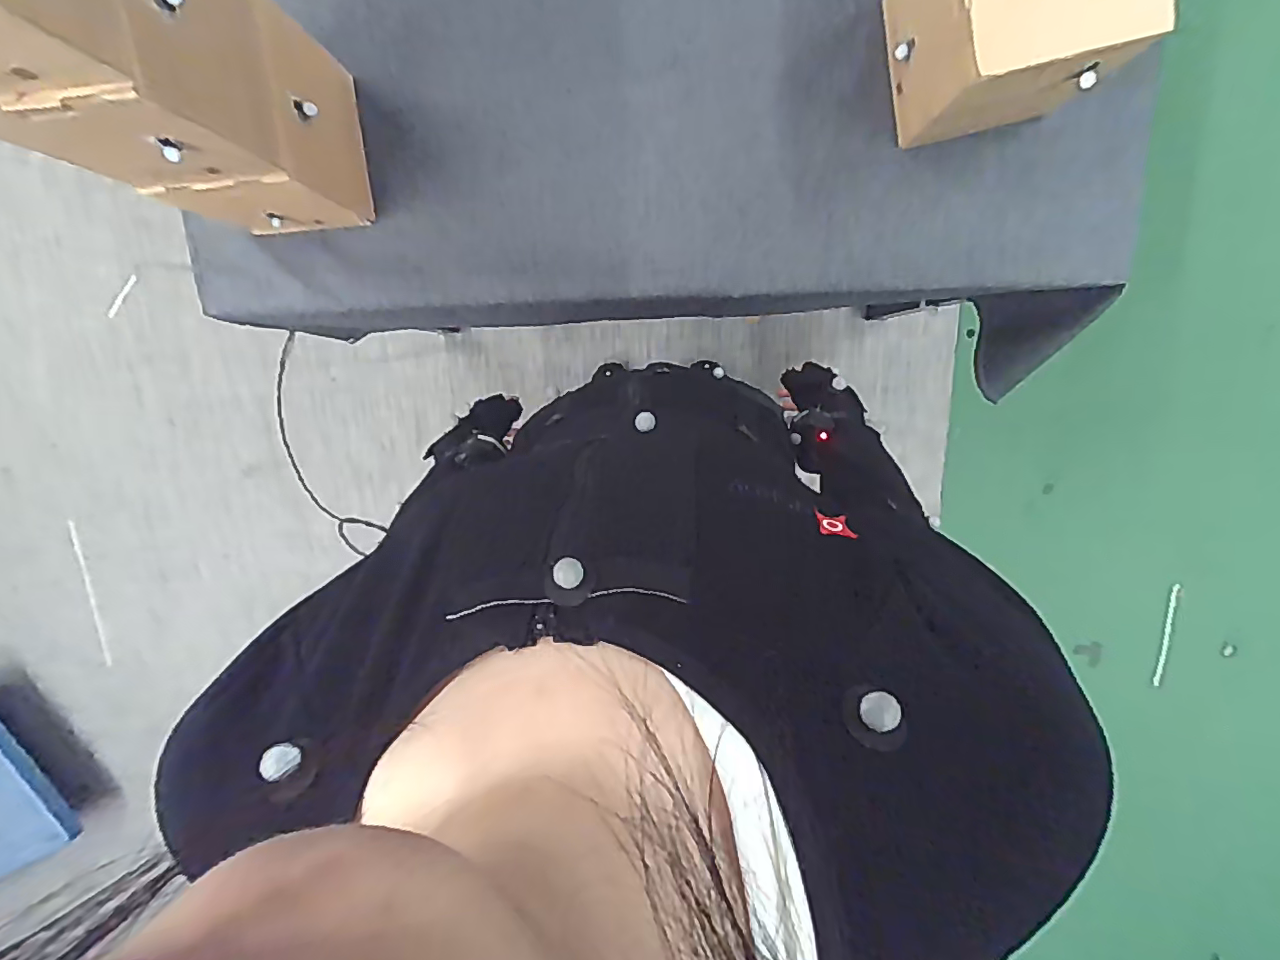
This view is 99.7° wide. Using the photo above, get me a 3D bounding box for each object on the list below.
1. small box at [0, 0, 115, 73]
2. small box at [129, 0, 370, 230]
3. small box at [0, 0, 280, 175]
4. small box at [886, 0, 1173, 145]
[{"bbox_3d":[-0.441,-0.343,0.282,0.168,0.176,0.179,-4,101,1],"label":"small box"},{"bbox_3d":[-0.432,-0.398,0.604,0.168,0.176,0.179,-4,102,3],"label":"small box"},{"bbox_3d":[-0.436,-0.369,0.444,0.168,0.176,0.179,-3,102,2],"label":"small box"},{"bbox_3d":[0.378,-0.476,0.551,0.179,0.176,0.168,-11,101,5],"label":"small box"}]
